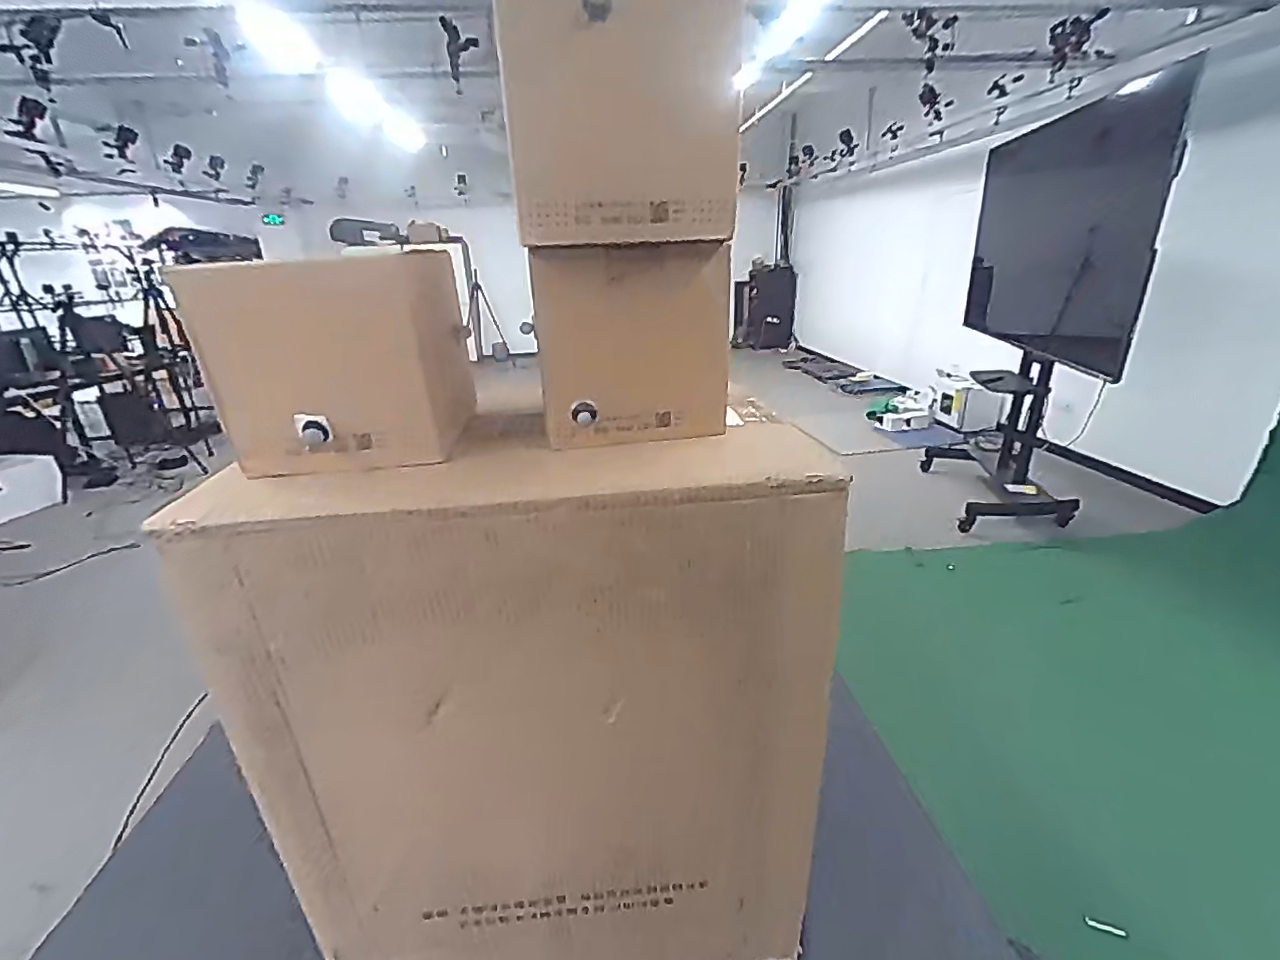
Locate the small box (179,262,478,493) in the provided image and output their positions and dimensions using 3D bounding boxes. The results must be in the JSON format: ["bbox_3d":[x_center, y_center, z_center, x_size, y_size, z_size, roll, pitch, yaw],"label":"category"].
[{"bbox_3d":[-0.256,-0.103,0.503,0.168,0.176,0.179,-8,26,-4],"label":"small box"}]

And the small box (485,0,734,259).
[{"bbox_3d":[-0.027,-0.277,0.453,0.168,0.176,0.179,-7,23,-7],"label":"small box"}]

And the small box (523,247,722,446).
[{"bbox_3d":[-0.020,-0.136,0.536,0.168,0.176,0.179,-7,23,-9],"label":"small box"}]
